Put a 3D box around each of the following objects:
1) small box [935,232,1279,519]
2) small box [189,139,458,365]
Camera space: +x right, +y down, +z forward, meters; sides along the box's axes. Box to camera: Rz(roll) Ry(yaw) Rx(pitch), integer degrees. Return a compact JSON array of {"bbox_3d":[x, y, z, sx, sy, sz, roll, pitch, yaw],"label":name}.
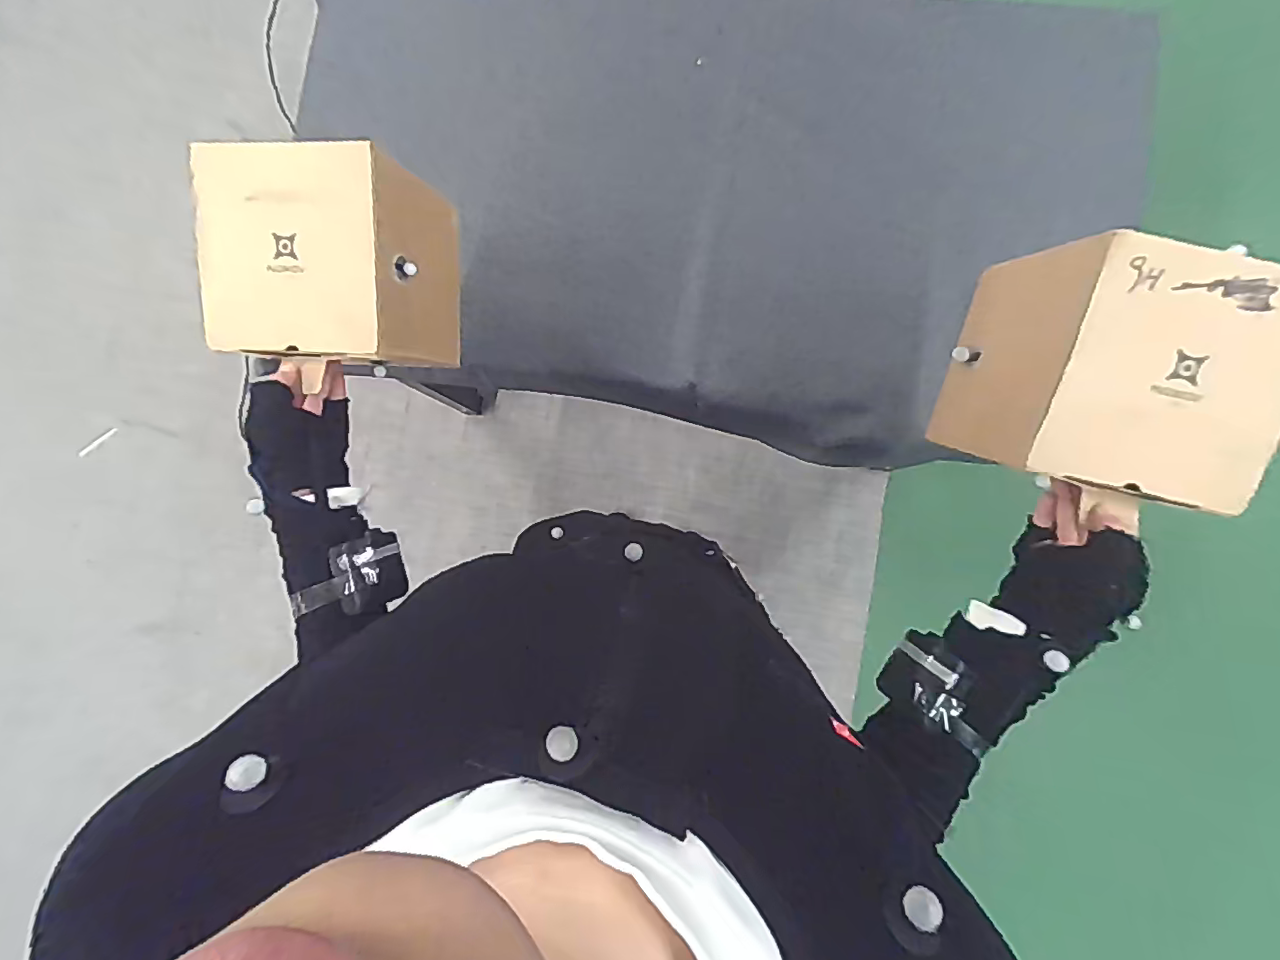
[{"bbox_3d":[0.390,-0.089,0.467,0.168,0.176,0.179,13,104,0],"label":"small box"},{"bbox_3d":[-0.294,-0.208,0.540,0.168,0.176,0.179,3,98,5],"label":"small box"}]
